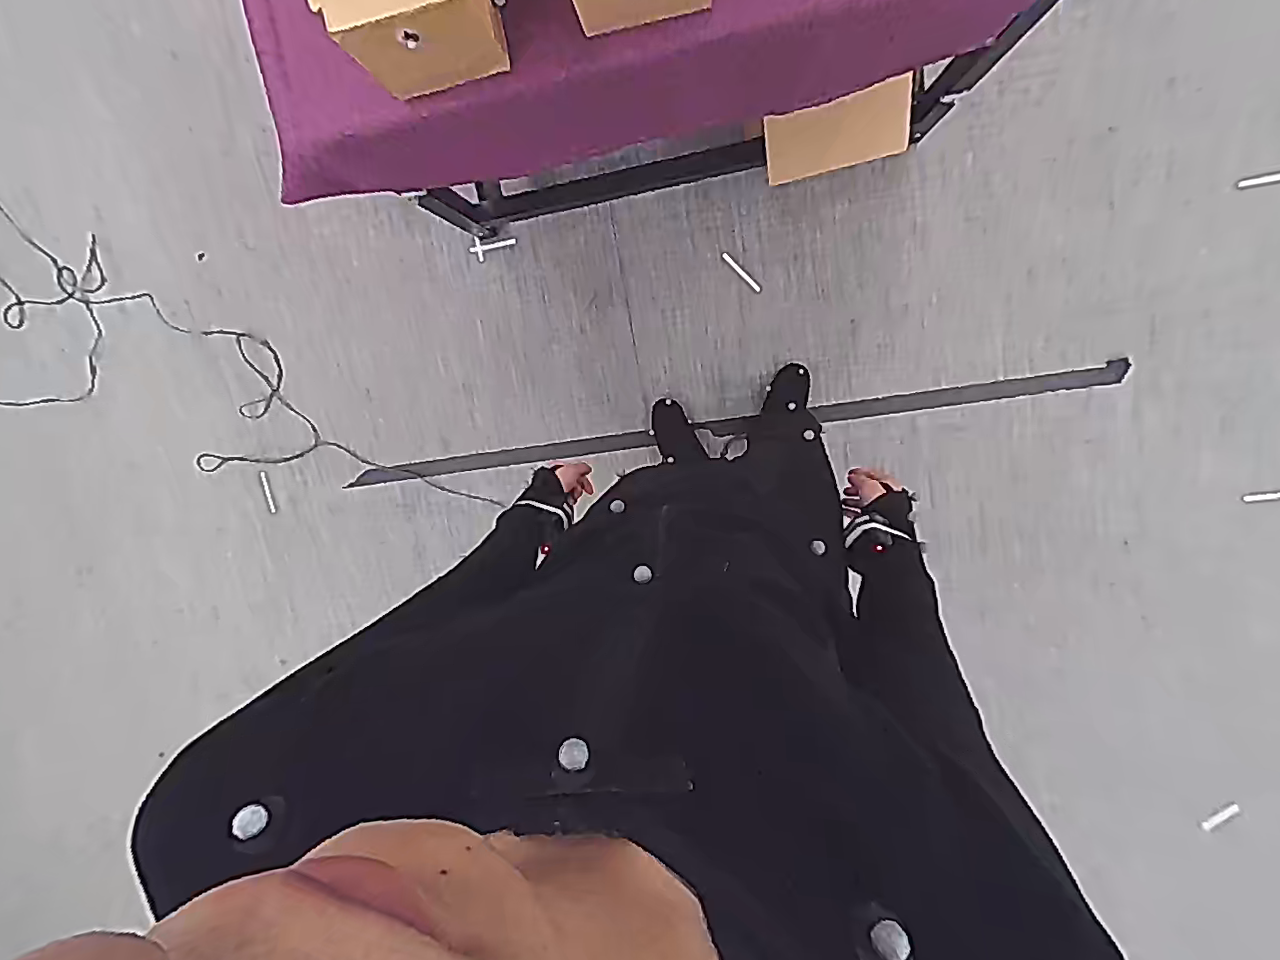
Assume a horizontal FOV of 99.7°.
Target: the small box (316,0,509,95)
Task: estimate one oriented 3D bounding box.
[{"bbox_3d":[-0.288,-0.624,0.679,0.179,0.176,0.168,-10,102,7],"label":"small box"}]
